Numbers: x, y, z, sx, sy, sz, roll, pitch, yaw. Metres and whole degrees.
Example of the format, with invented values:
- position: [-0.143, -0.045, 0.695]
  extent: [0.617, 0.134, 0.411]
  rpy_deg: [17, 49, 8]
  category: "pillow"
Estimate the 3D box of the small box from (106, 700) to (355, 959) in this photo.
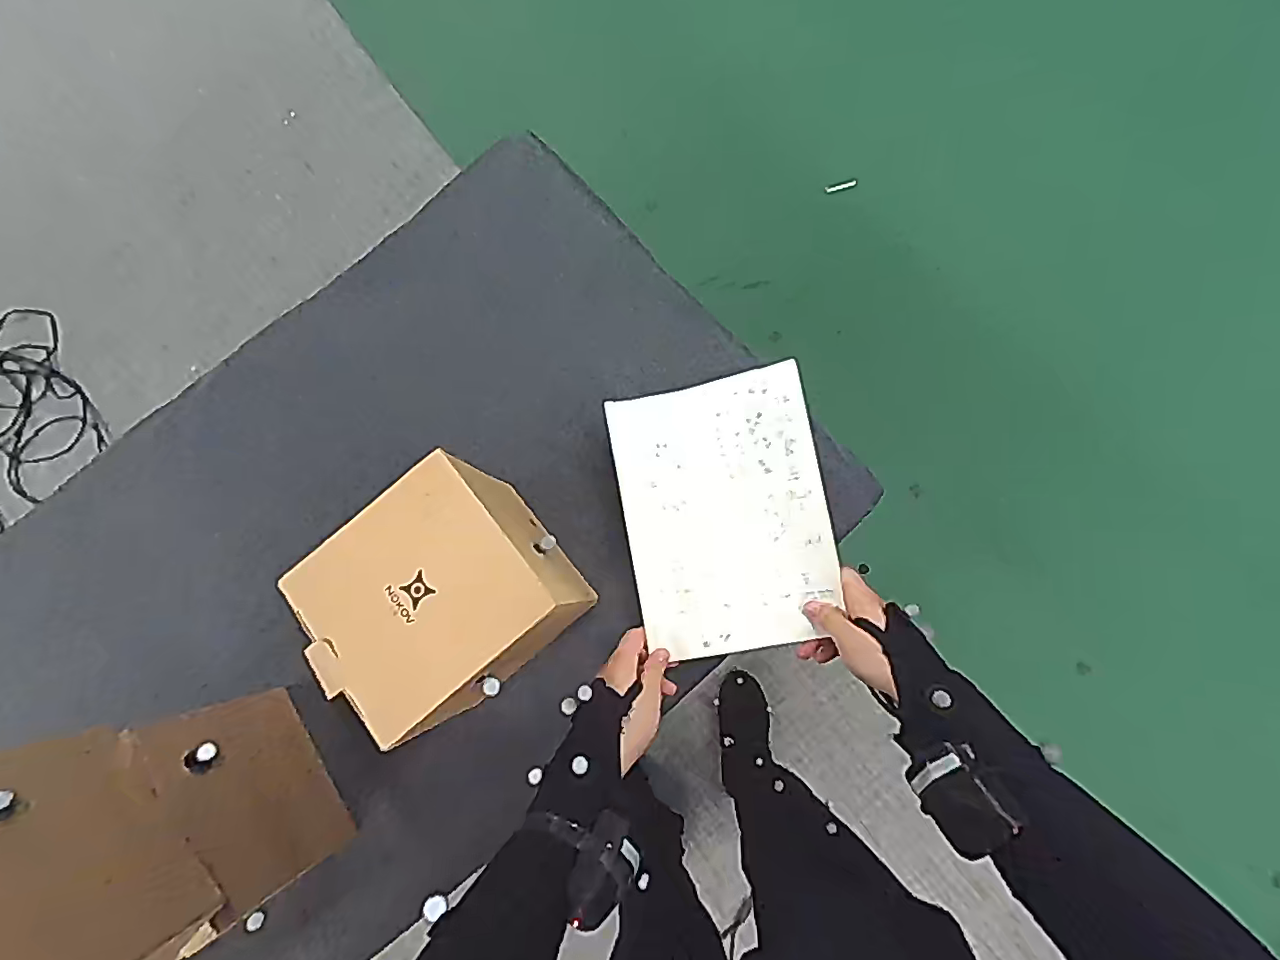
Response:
- position: [-0.412, 0.327, 0.497]
  extent: [0.168, 0.176, 0.179]
  rpy_deg: [-37, 78, 1]
  category: "small box"

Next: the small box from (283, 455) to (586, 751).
- position: [-0.168, 0.104, 0.505]
  extent: [0.179, 0.176, 0.168]
  rpy_deg: [-41, 78, 0]
  category: "small box"
